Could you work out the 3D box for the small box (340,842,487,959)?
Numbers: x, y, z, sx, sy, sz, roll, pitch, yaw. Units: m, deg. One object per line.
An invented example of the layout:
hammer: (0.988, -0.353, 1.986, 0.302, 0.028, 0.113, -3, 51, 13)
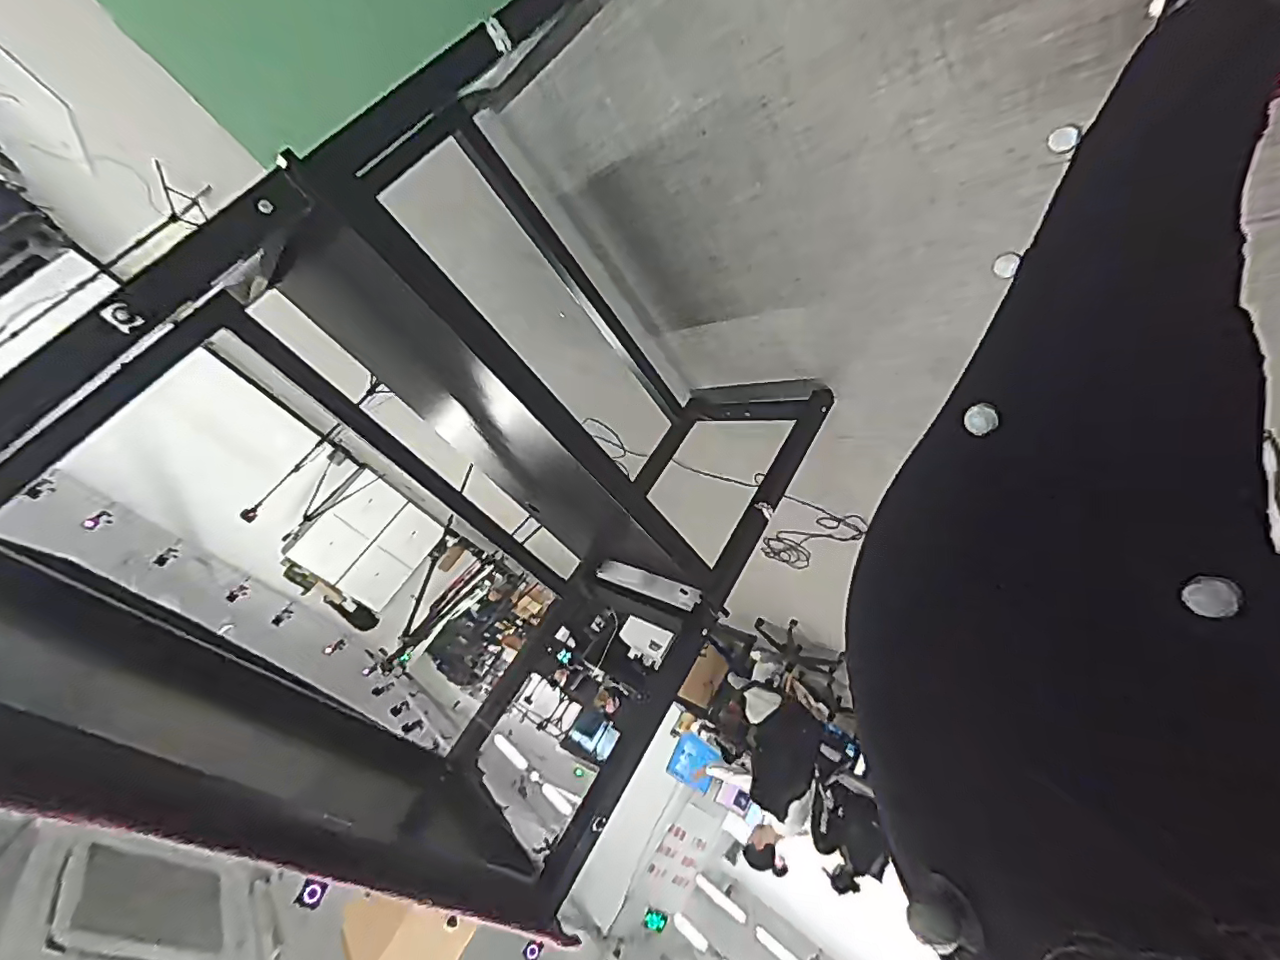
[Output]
small box: (-0.418, 0.812, 1.009, 0.179, 0.176, 0.168, 2, 143, 52)
